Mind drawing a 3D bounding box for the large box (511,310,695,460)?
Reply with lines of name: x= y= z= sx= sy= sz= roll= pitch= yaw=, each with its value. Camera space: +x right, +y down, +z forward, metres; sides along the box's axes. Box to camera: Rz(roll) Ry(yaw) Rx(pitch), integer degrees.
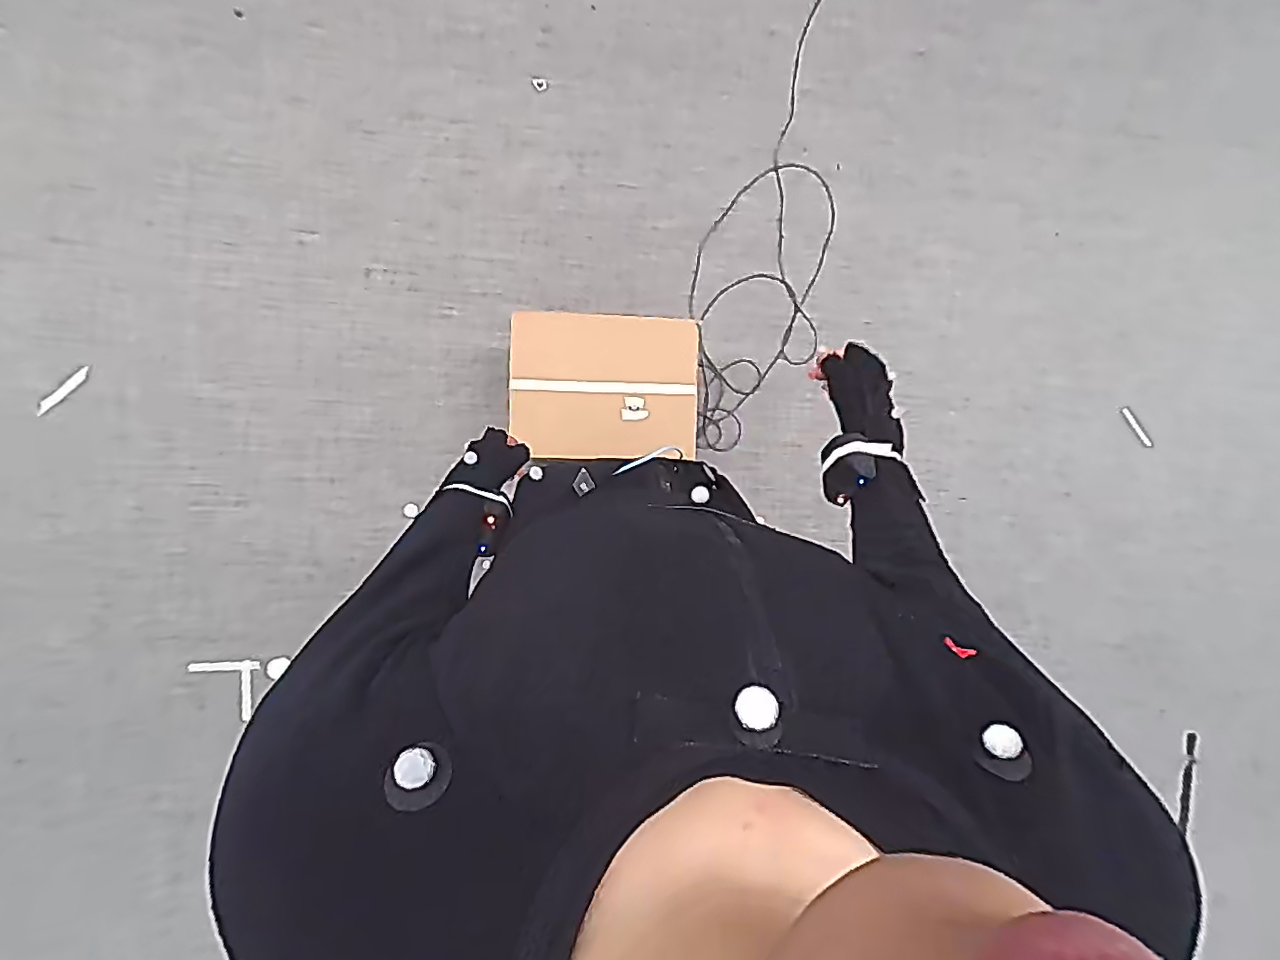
large box: x=-0.092 y=-0.210 z=1.325 sx=0.408 sy=0.320 sz=0.320 roll=2 pitch=91 yaw=-5
